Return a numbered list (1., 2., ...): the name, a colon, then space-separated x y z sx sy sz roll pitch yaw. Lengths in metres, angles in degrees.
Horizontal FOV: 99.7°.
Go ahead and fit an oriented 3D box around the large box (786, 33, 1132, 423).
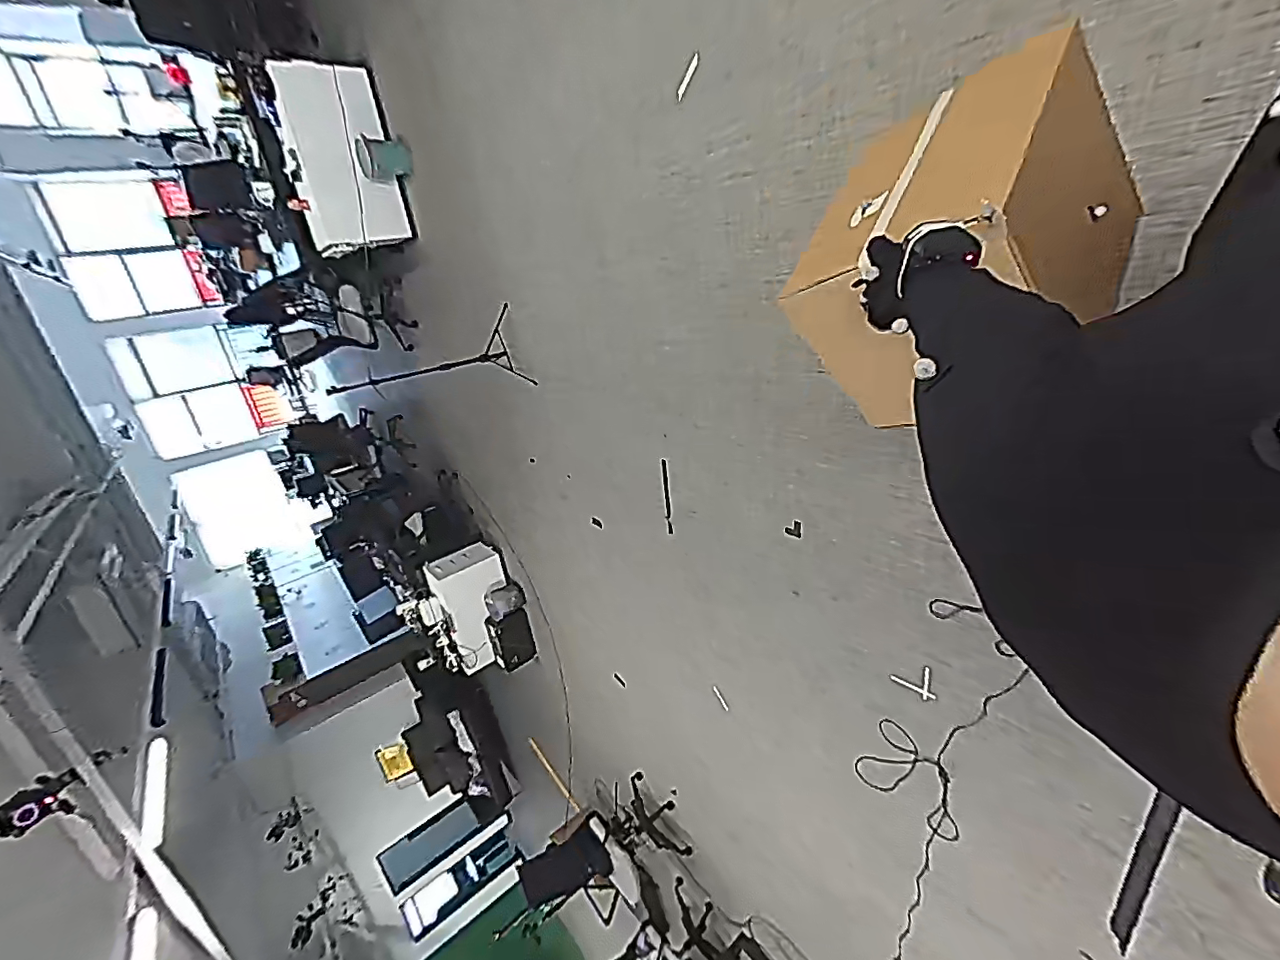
1. large box: 0.502 -0.349 0.842 0.320 0.408 0.320 40 158 -25
